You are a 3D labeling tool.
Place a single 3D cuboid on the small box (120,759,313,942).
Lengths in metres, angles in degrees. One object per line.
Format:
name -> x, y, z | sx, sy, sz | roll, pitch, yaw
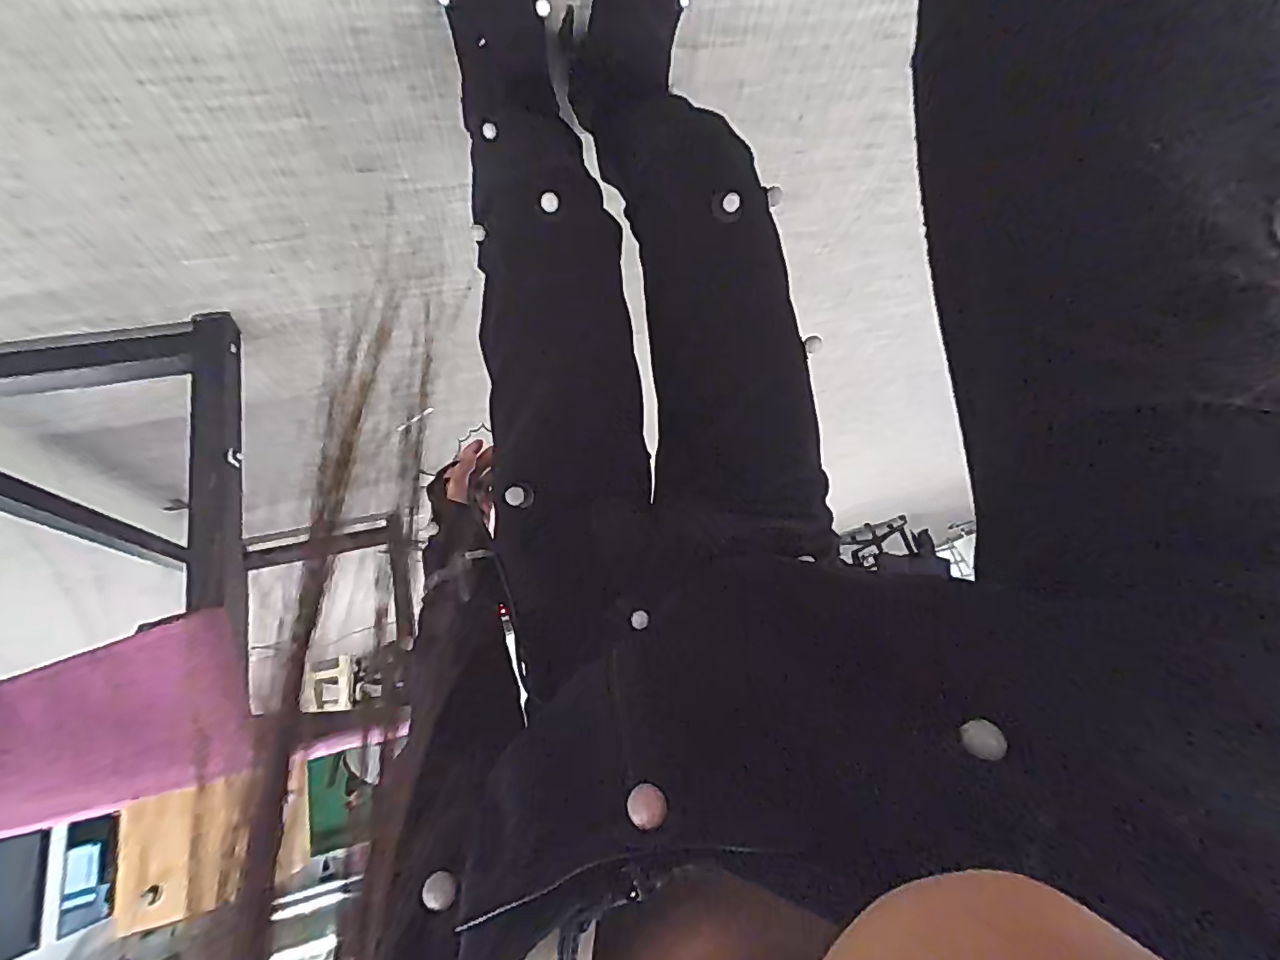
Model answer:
small box -> -0.624, 0.541, 0.819 | 0.179, 0.176, 0.168 | -12, 162, -11
